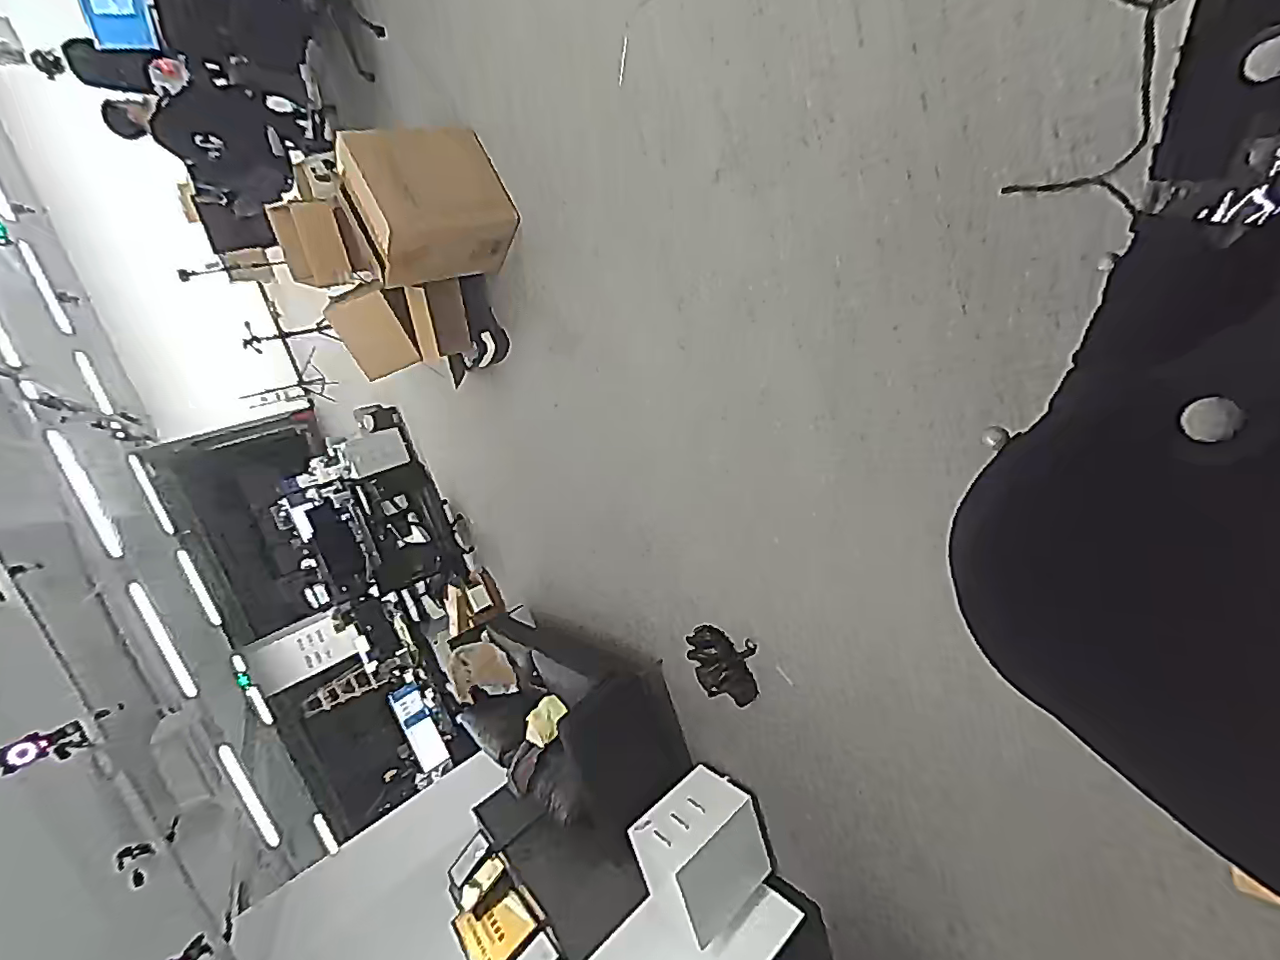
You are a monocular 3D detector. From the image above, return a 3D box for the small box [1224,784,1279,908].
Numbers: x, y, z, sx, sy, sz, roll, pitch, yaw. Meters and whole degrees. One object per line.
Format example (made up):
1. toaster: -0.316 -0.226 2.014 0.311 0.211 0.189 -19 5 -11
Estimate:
1. small box: 1.355 0.761 1.102 0.179 0.176 0.168 -18 96 58
